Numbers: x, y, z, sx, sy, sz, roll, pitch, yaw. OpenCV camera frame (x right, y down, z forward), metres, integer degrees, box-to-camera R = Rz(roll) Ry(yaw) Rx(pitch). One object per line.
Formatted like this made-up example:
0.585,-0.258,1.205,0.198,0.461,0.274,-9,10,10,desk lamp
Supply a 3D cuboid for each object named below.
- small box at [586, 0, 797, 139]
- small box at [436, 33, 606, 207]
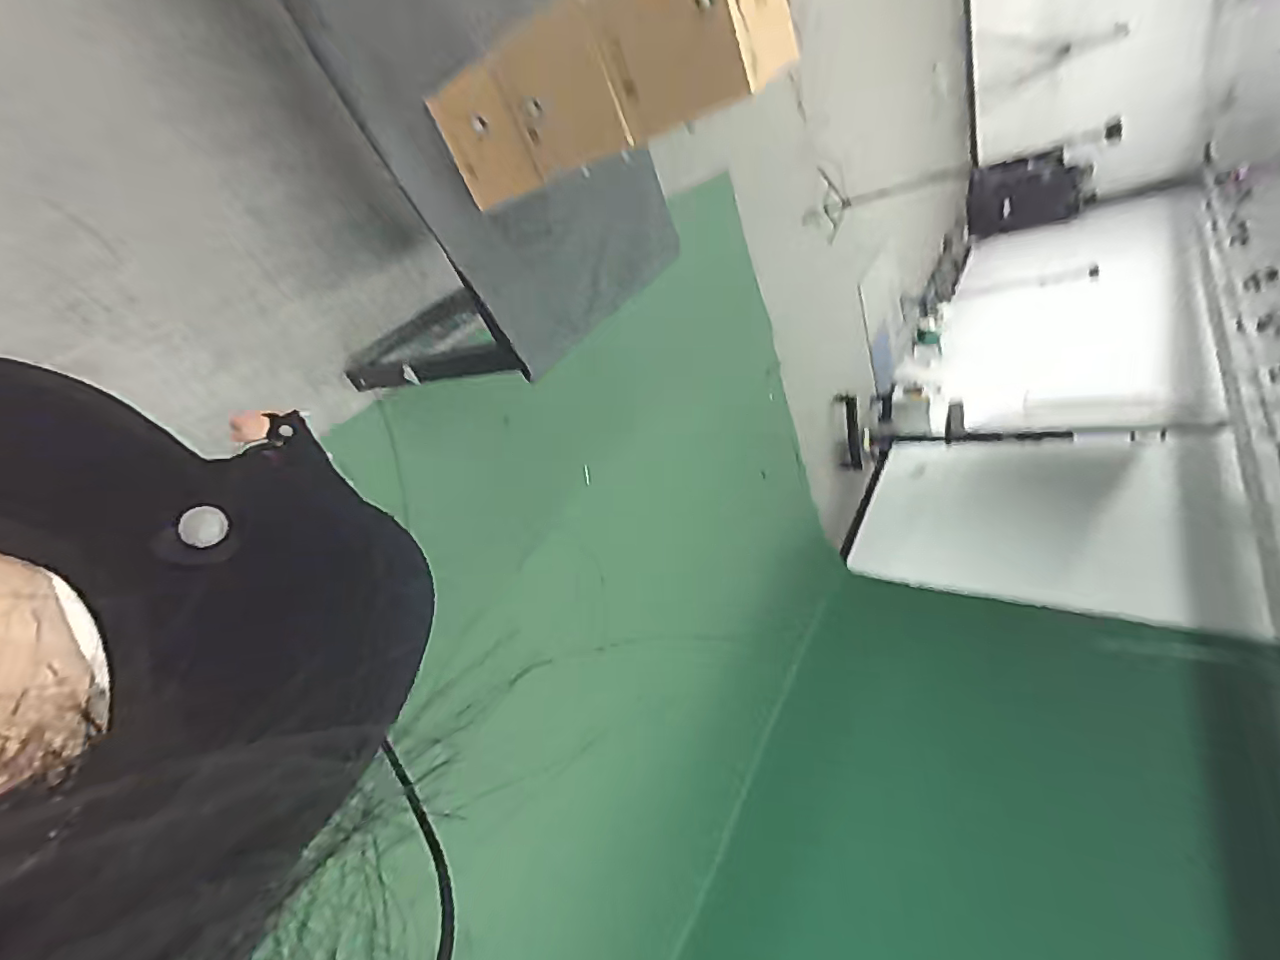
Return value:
0.066,-0.544,0.645,0.179,0.176,0.168,-56,132,-34,small box
-0.191,-0.556,0.850,0.179,0.176,0.168,-52,130,-36,small box
